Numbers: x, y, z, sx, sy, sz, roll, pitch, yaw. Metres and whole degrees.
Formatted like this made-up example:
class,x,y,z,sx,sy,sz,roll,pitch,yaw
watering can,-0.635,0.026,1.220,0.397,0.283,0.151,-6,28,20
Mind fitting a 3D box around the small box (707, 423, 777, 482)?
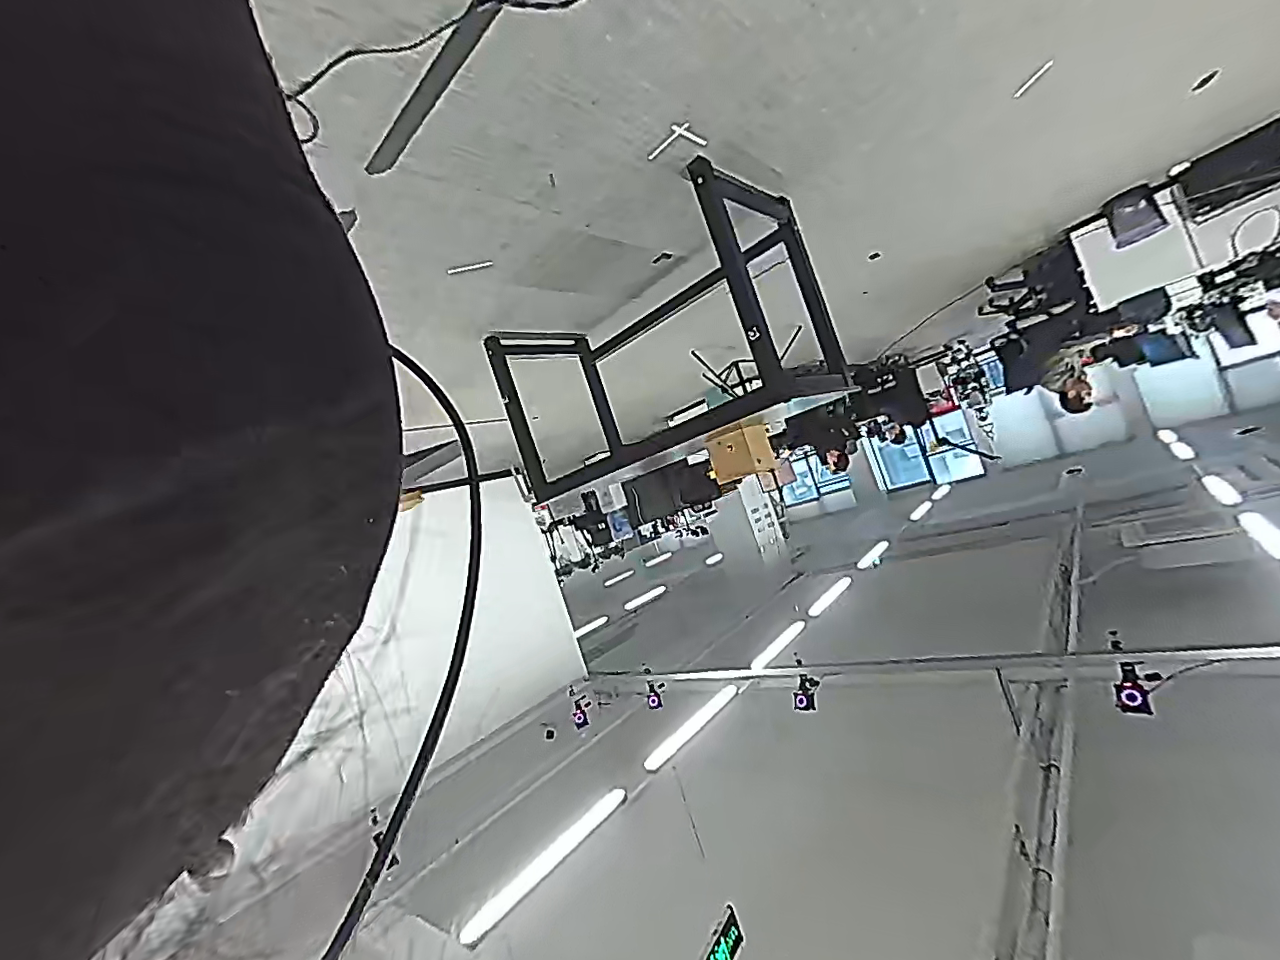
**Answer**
class,x,y,z,sx,sy,sz,roll,pitch,yaw
small box,0.375,-0.106,1.992,0.168,0.176,0.179,-22,176,40
